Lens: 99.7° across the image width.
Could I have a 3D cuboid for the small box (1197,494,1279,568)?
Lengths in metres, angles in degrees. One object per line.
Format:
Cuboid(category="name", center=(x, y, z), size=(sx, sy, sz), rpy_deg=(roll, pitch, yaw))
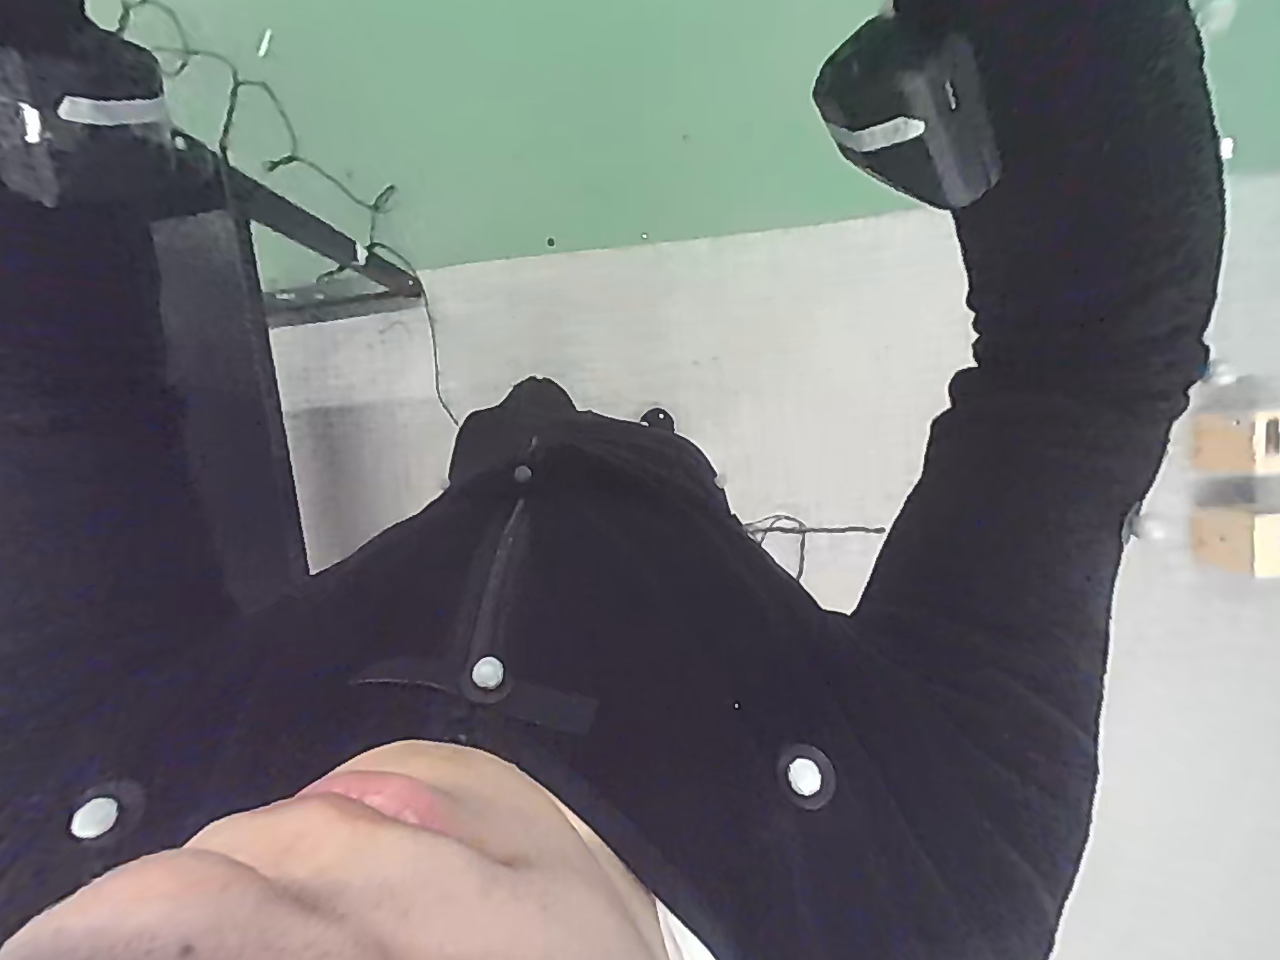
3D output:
Cuboid(category="small box", center=(1.675, 0.135, 1.467), size=(0.179, 0.176, 0.168), rpy_deg=(-6, 95, 3))
